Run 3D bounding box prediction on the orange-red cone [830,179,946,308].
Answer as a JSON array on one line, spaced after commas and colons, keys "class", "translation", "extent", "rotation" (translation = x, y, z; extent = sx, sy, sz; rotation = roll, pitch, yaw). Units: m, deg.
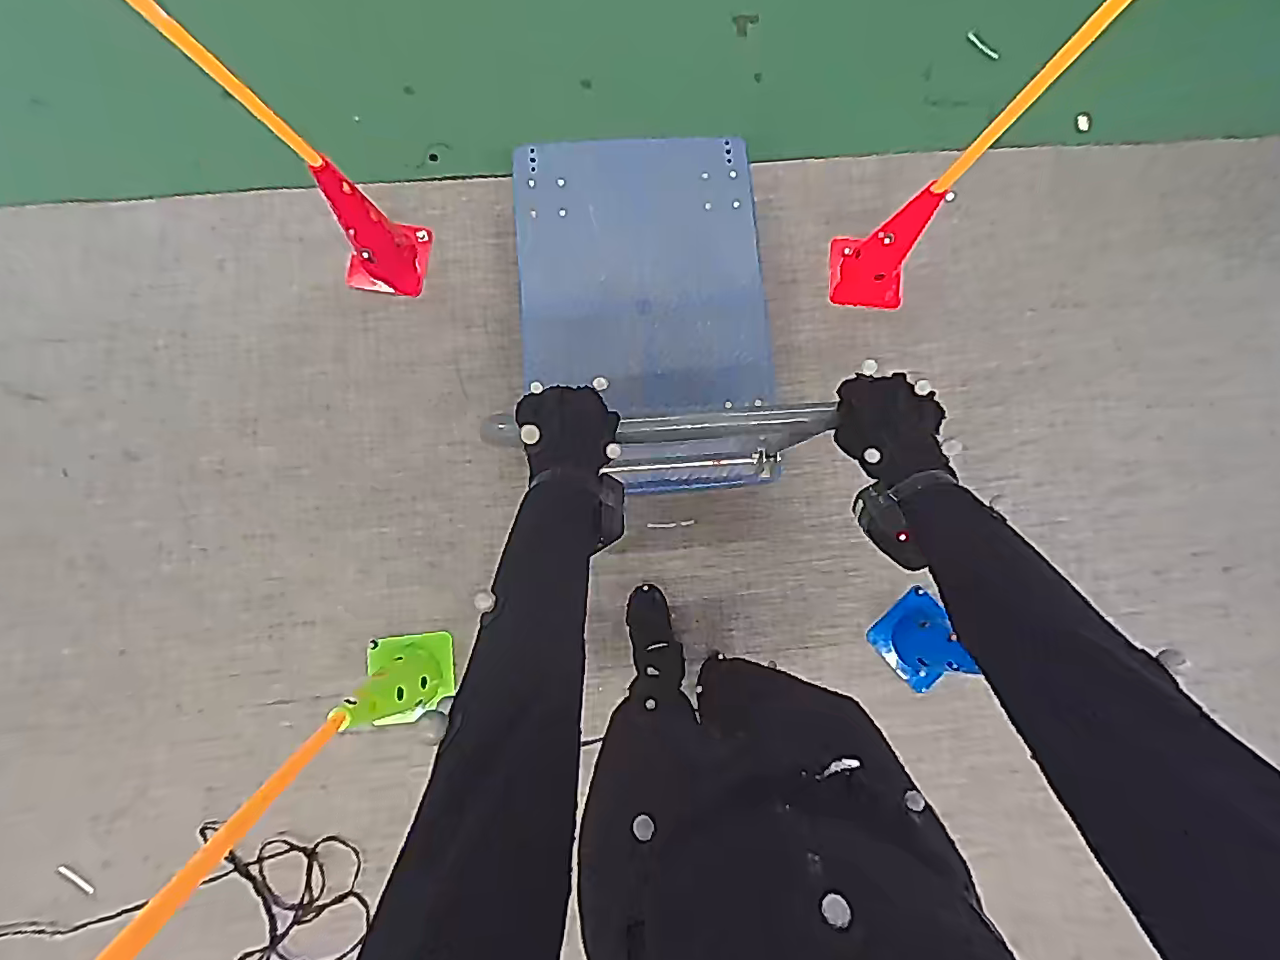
[{"class": "orange-red cone", "translation": [0.631, -0.597, 1.324], "extent": [0.198, 0.360, 0.199], "rotation": [6, 82, -1]}]
